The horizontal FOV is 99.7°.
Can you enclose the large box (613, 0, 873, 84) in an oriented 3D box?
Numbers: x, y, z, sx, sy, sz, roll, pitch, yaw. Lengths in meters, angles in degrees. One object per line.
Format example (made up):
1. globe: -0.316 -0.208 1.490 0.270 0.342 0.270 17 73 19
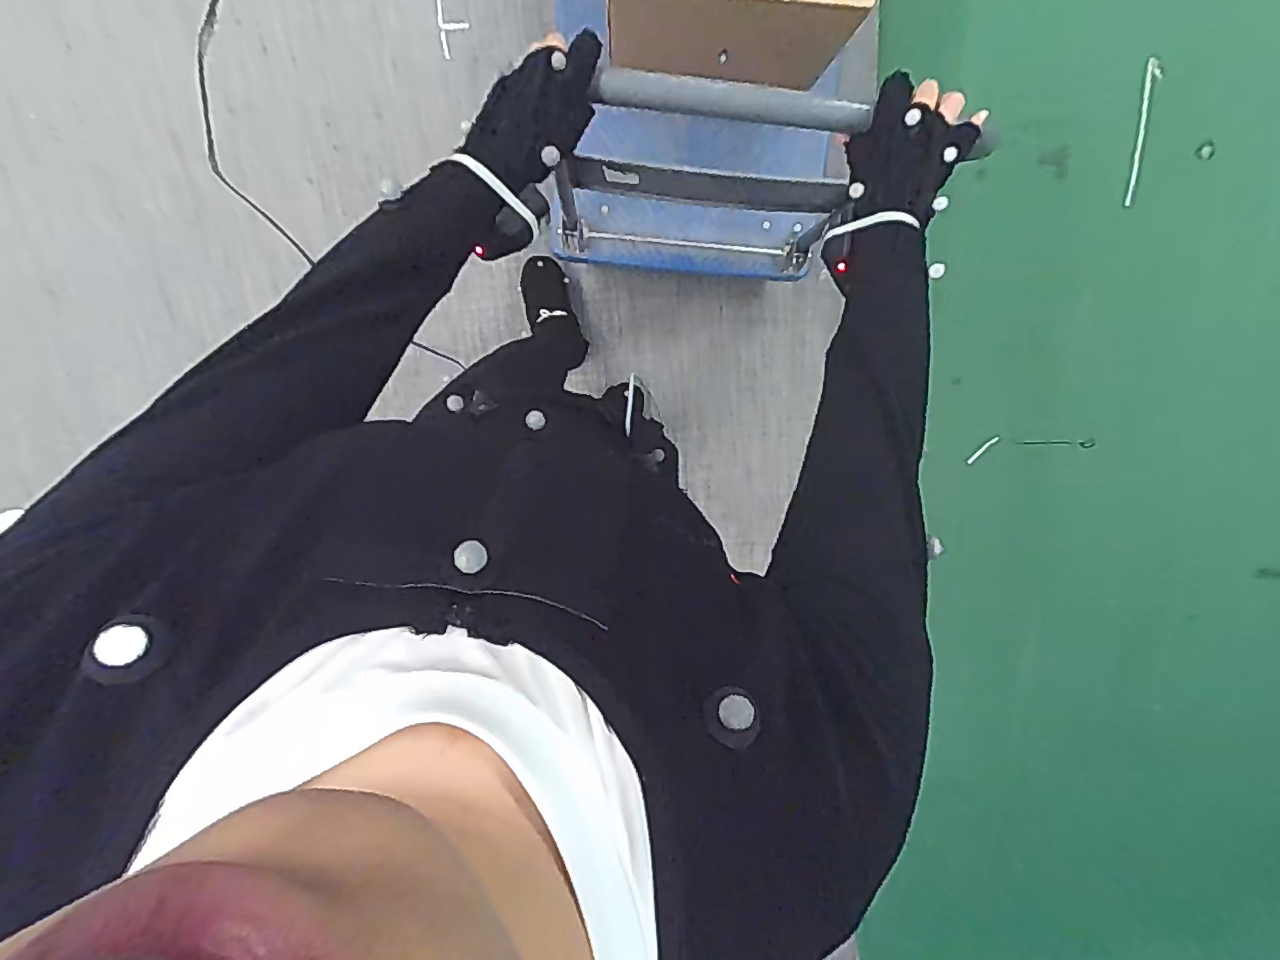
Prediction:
1. large box: 0.163 -0.919 0.918 0.408 0.320 0.320 3 105 -3
